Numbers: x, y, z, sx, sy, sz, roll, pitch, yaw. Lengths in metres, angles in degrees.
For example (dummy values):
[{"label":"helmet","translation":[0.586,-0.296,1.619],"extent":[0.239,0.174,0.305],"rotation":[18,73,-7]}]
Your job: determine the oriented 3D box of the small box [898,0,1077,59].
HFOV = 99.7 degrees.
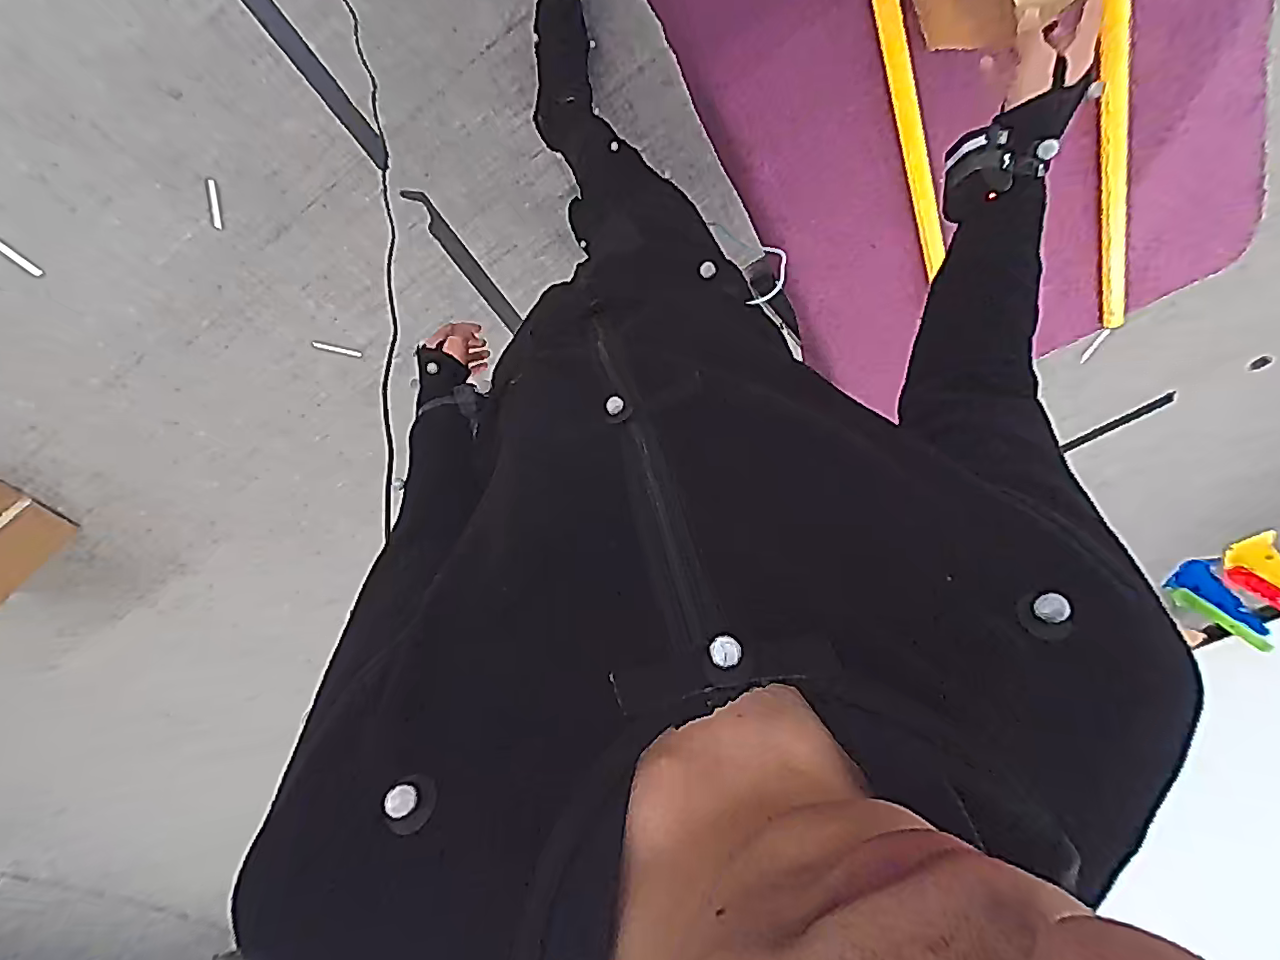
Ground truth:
[{"label":"small box","translation":[0.346,-0.542,0.503],"extent":[0.168,0.176,0.179],"rotation":[-35,125,18]}]
